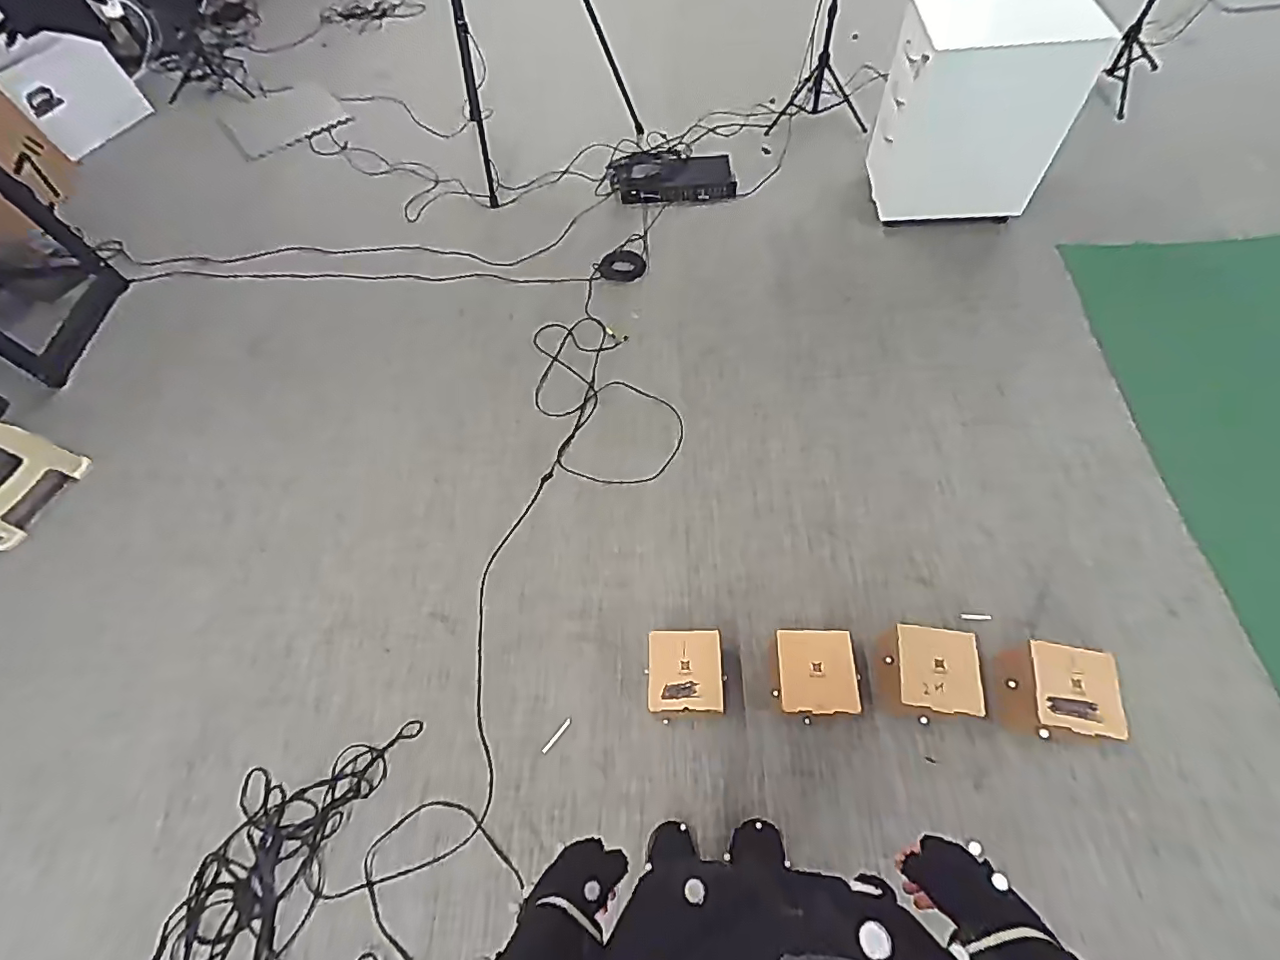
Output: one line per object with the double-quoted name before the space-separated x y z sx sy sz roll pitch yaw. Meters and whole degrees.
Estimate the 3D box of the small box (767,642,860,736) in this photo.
"small box" 0.392 0.485 1.251 0.168 0.176 0.179 0 60 5

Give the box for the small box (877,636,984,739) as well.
"small box" 0.648 0.475 1.230 0.168 0.176 0.179 6 61 10

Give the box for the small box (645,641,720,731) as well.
"small box" 0.103 0.490 1.274 0.168 0.176 0.179 -1 58 5
